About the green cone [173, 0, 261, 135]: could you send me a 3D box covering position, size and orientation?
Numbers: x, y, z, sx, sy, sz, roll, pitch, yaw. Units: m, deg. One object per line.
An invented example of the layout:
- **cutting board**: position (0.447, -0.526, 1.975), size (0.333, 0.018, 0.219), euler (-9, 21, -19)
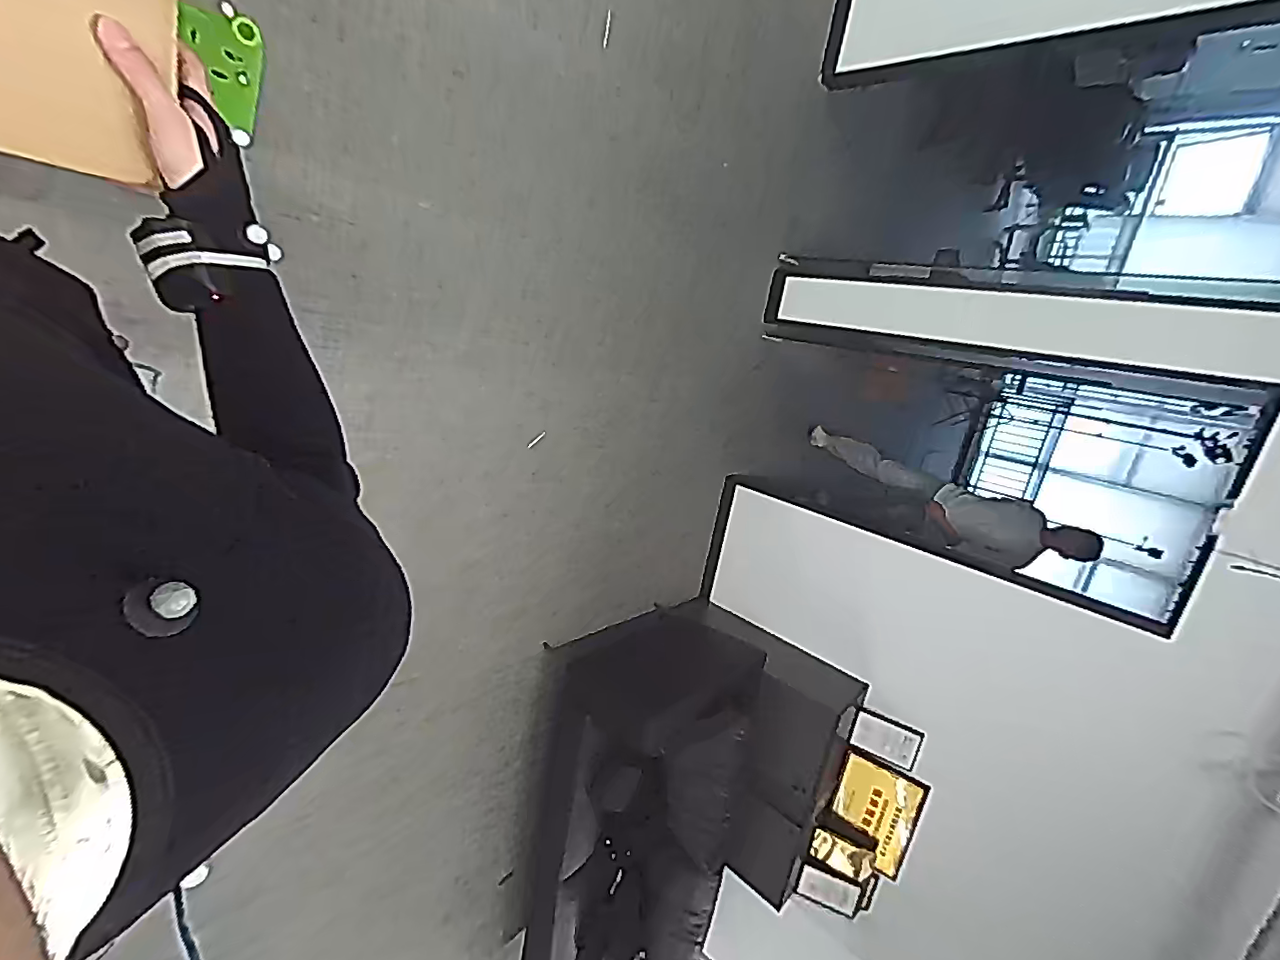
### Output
- **green cone**: position (-0.796, -0.820, 1.028), size (0.200, 0.368, 0.202), euler (3, 104, -51)
